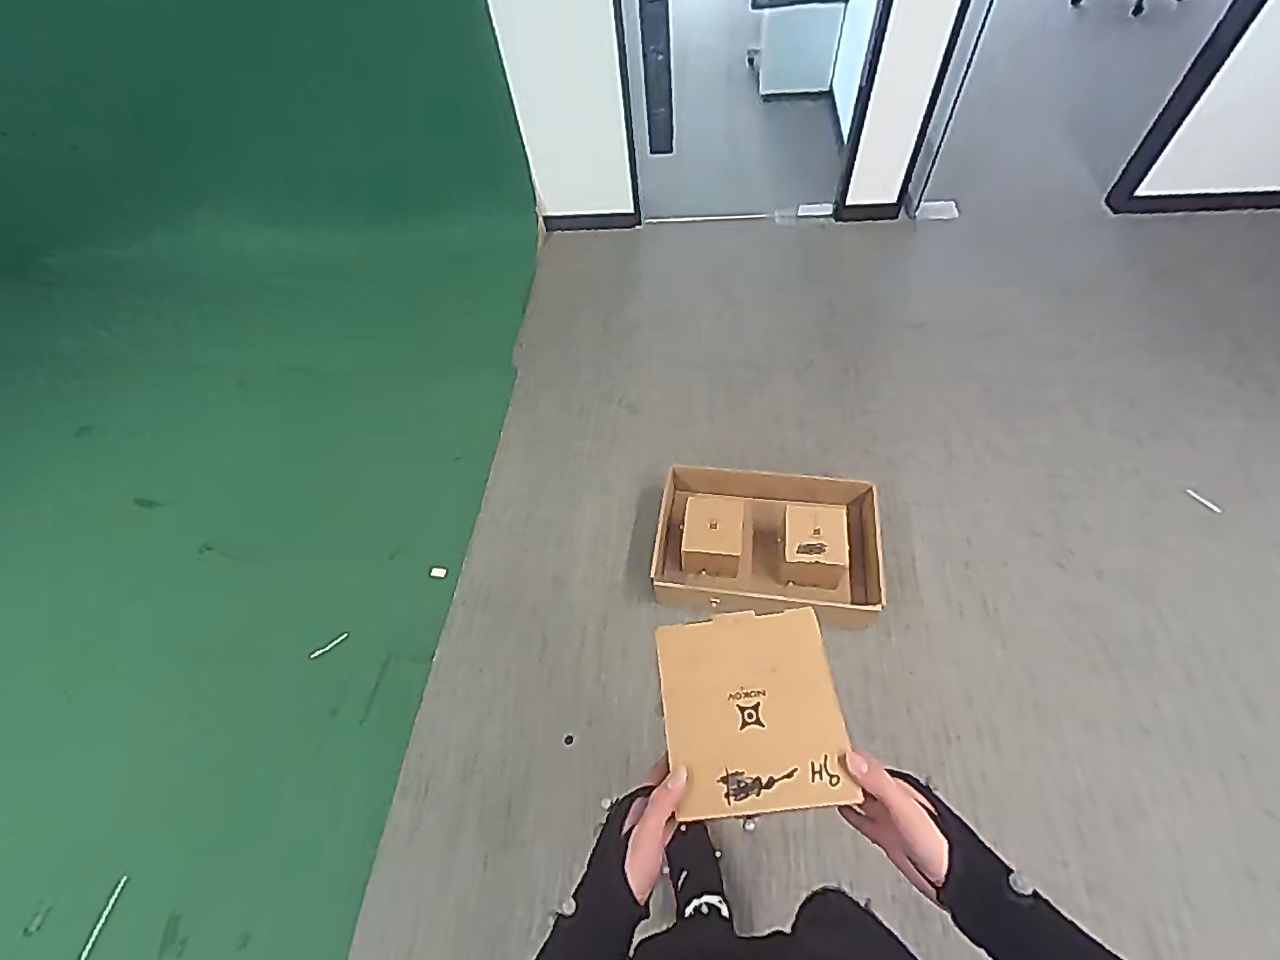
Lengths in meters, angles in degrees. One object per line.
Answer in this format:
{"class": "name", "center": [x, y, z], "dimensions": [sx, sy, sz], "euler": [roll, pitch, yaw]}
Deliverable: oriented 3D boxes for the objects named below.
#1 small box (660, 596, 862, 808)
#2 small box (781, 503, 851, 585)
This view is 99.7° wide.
{"class": "small box", "center": [0.115, 0.242, 0.577], "dimensions": [0.168, 0.176, 0.179], "euler": [-8, 57, 5]}
{"class": "small box", "center": [0.495, 0.185, 1.535], "dimensions": [0.168, 0.176, 0.179], "euler": [4, 57, 9]}
